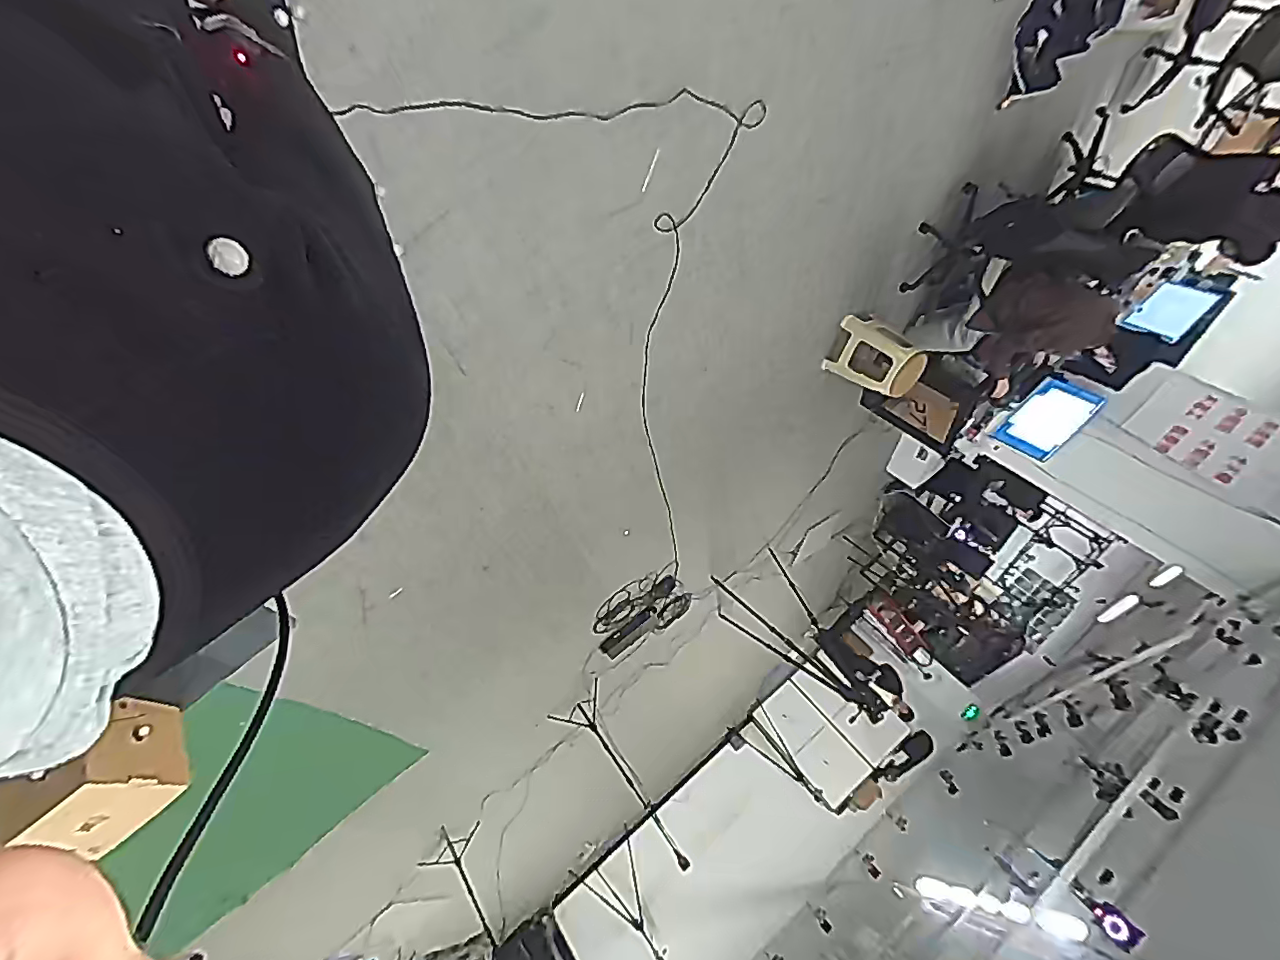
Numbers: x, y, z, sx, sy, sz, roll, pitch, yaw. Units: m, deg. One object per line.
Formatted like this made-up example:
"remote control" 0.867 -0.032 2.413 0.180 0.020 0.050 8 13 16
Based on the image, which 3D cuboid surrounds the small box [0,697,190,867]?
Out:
"small box" -0.907 0.488 0.890 0.179 0.176 0.168 -41 147 -10
